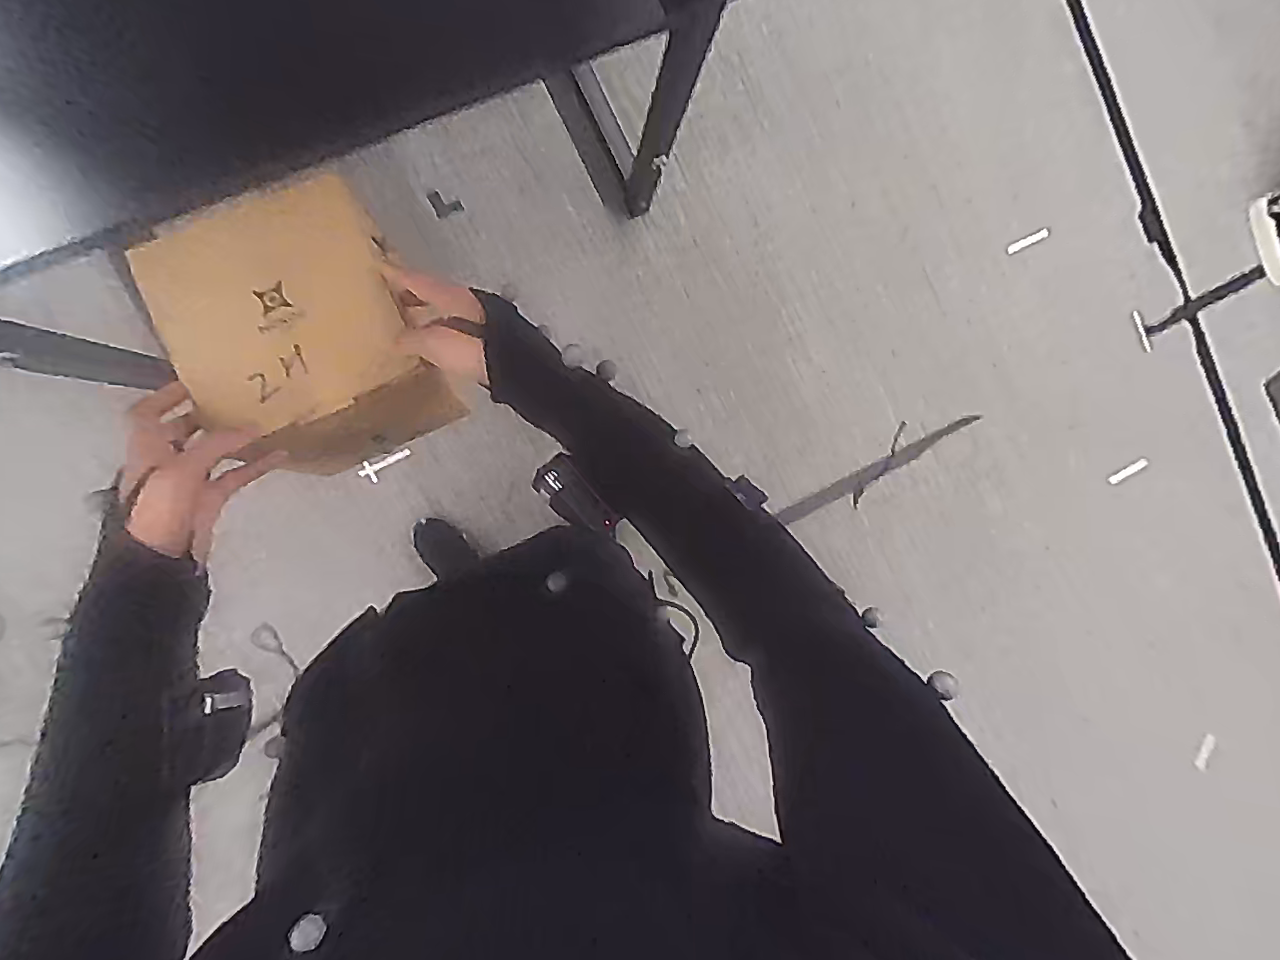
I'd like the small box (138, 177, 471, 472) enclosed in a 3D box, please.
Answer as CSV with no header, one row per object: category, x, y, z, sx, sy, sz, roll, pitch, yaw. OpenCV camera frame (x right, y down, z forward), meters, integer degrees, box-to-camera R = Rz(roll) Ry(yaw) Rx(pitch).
small box,-0.277,-0.122,0.491,0.168,0.176,0.179,-25,88,-6
